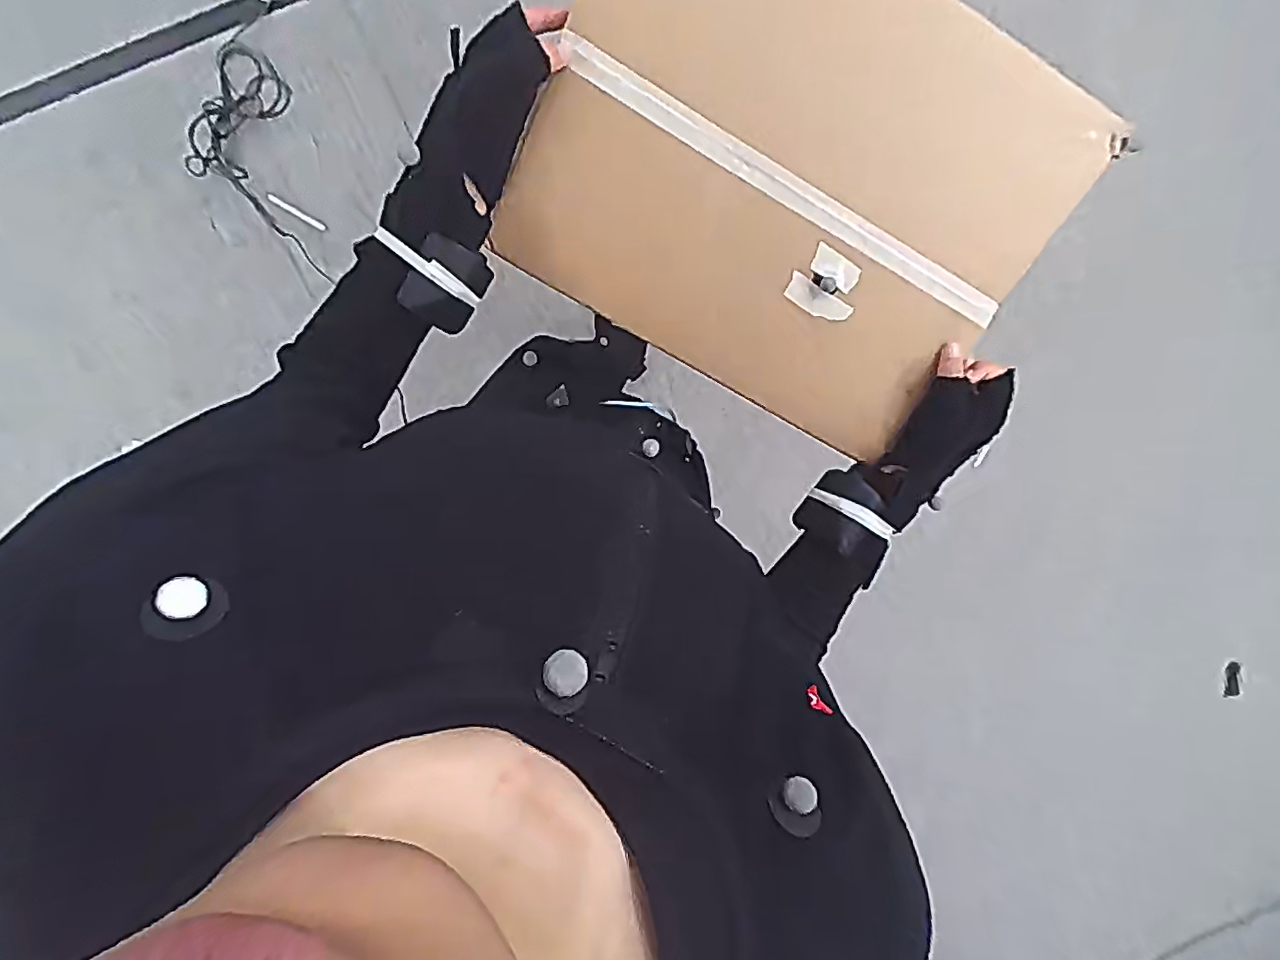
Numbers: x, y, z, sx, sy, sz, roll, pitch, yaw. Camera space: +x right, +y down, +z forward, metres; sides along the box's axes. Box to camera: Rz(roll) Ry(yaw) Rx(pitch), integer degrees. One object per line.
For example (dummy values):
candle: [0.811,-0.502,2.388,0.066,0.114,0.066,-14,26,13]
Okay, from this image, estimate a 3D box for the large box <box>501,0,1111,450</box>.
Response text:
large box: [0.127,-0.291,0.580,0.408,0.320,0.320,28,110,-8]
